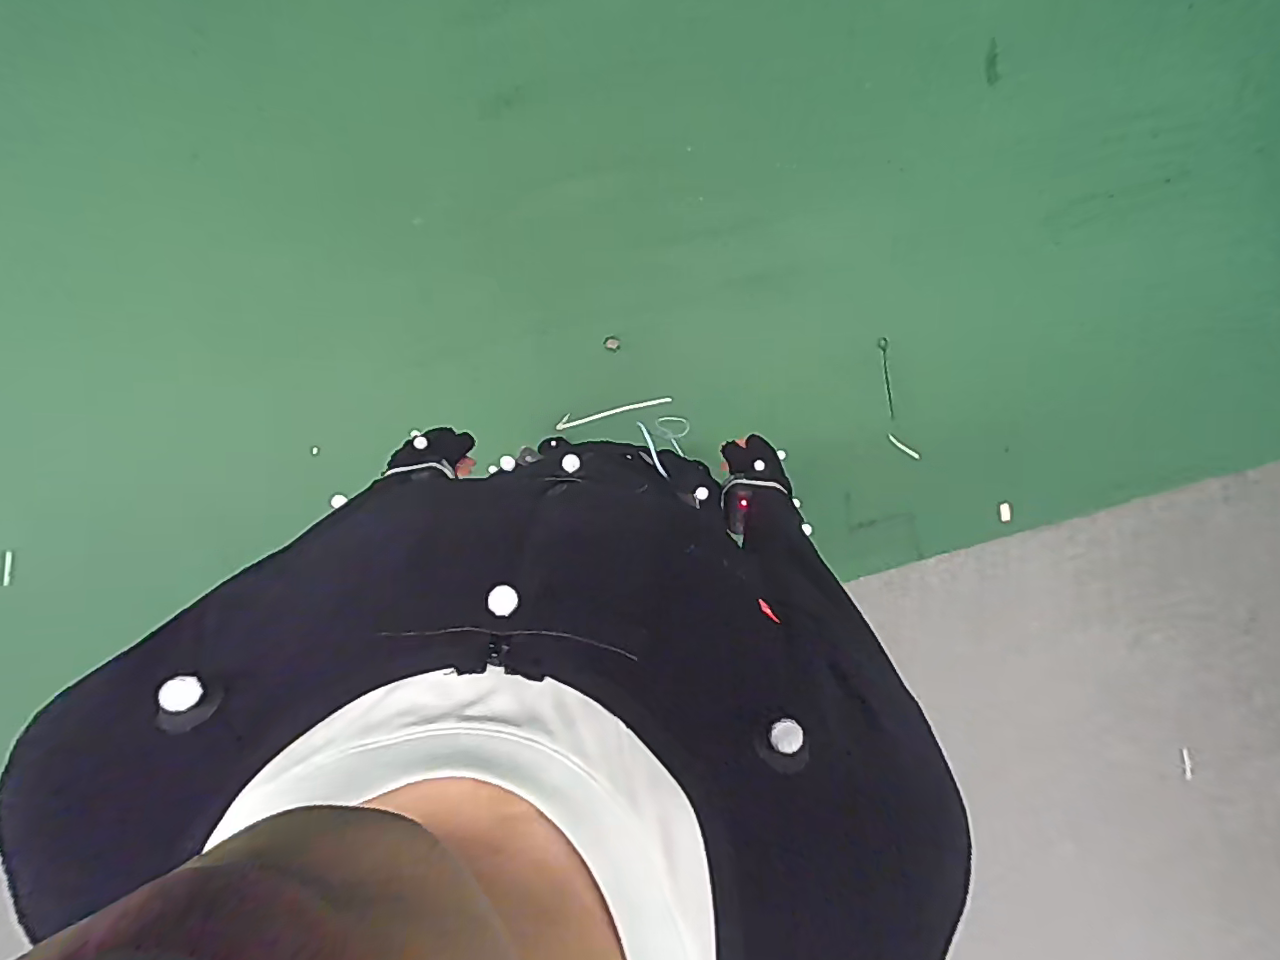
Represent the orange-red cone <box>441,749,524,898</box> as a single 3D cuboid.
[{"bbox_3d":[-0.433,0.895,1.377,0.198,0.360,0.199,-15,98,-1],"label":"orange-red cone"}]
